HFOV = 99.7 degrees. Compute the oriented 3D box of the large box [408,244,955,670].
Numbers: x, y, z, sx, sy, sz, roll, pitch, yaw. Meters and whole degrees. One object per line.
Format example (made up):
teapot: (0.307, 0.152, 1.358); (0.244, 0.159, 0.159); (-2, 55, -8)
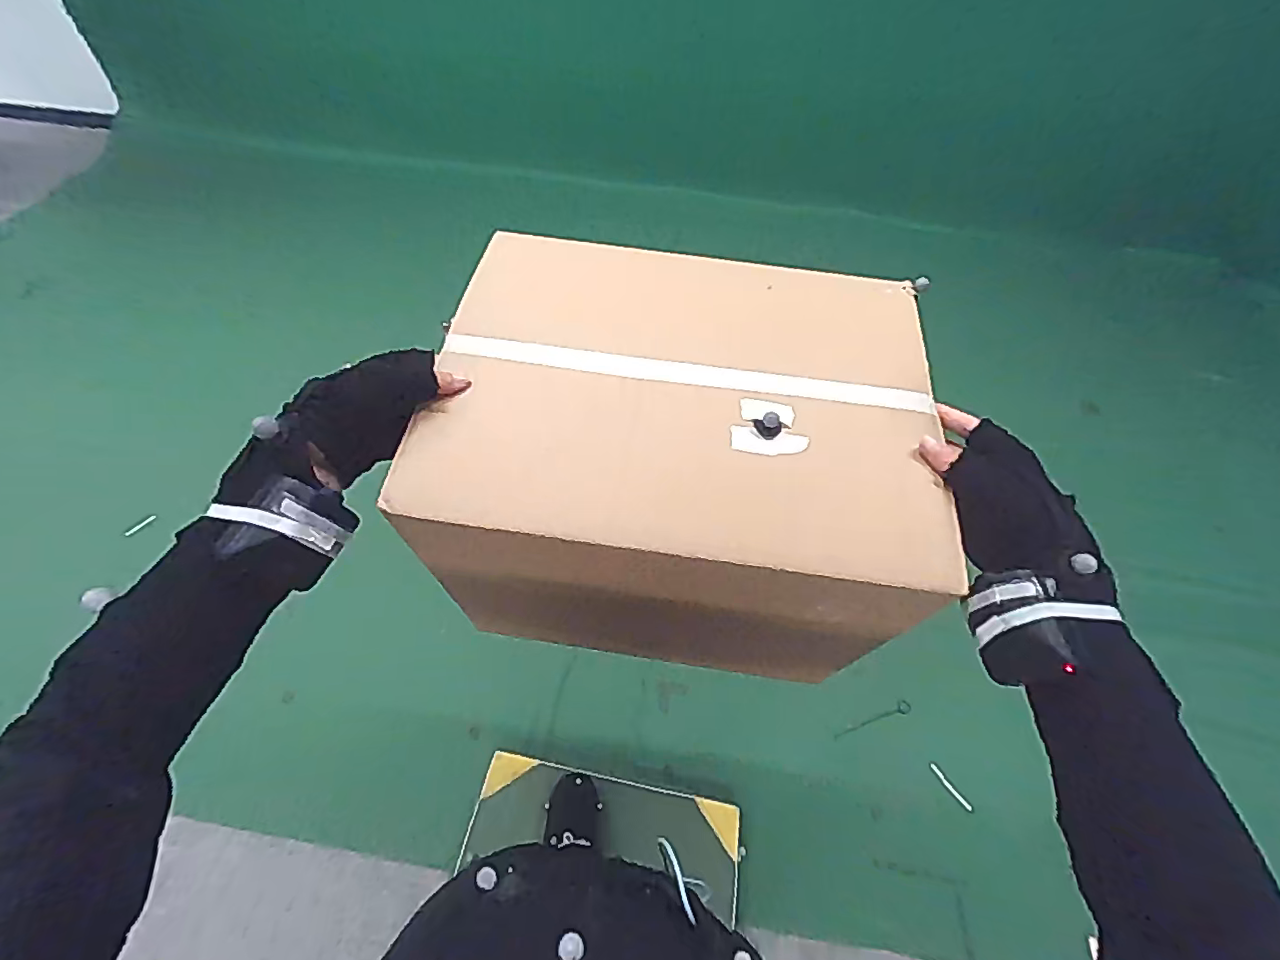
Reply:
large box: (0.035, -0.007, 0.587); (0.408, 0.320, 0.320); (8, 59, 1)
